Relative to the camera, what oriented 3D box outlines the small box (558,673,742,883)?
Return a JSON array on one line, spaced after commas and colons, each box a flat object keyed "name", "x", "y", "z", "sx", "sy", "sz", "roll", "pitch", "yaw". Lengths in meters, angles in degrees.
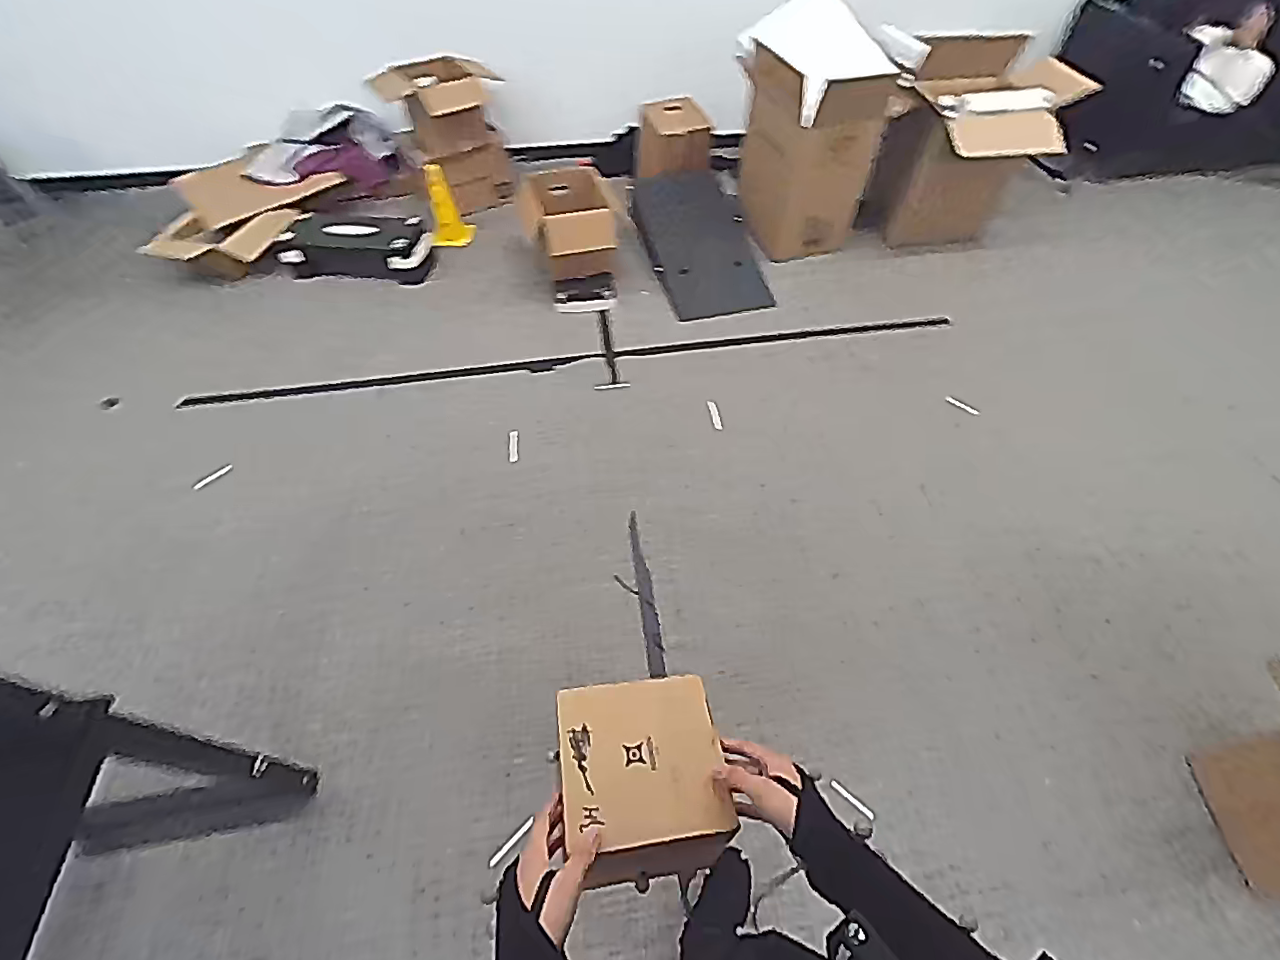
[{"name": "small box", "x": -0.003, "y": 0.347, "z": 0.633, "sx": 0.179, "sy": 0.176, "sz": 0.168, "roll": 0, "pitch": 42, "yaw": -11}]
